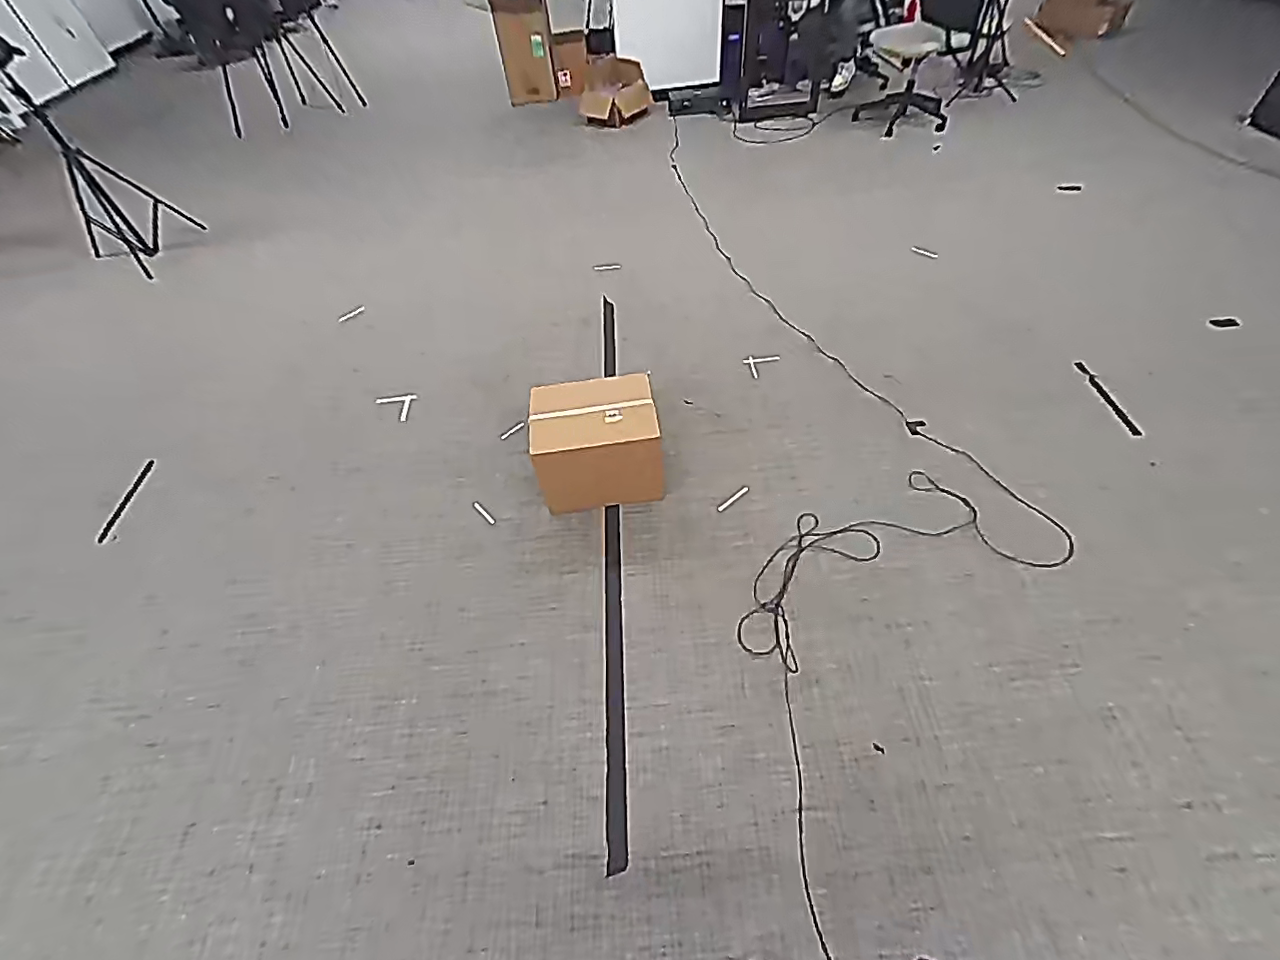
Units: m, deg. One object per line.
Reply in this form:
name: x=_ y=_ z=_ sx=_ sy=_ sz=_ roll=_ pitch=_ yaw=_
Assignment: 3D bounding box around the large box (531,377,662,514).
large box: x=-0.146 y=-0.114 z=1.854 sx=0.408 sy=0.320 sz=0.320 roll=-8 pitch=51 yaw=-2
